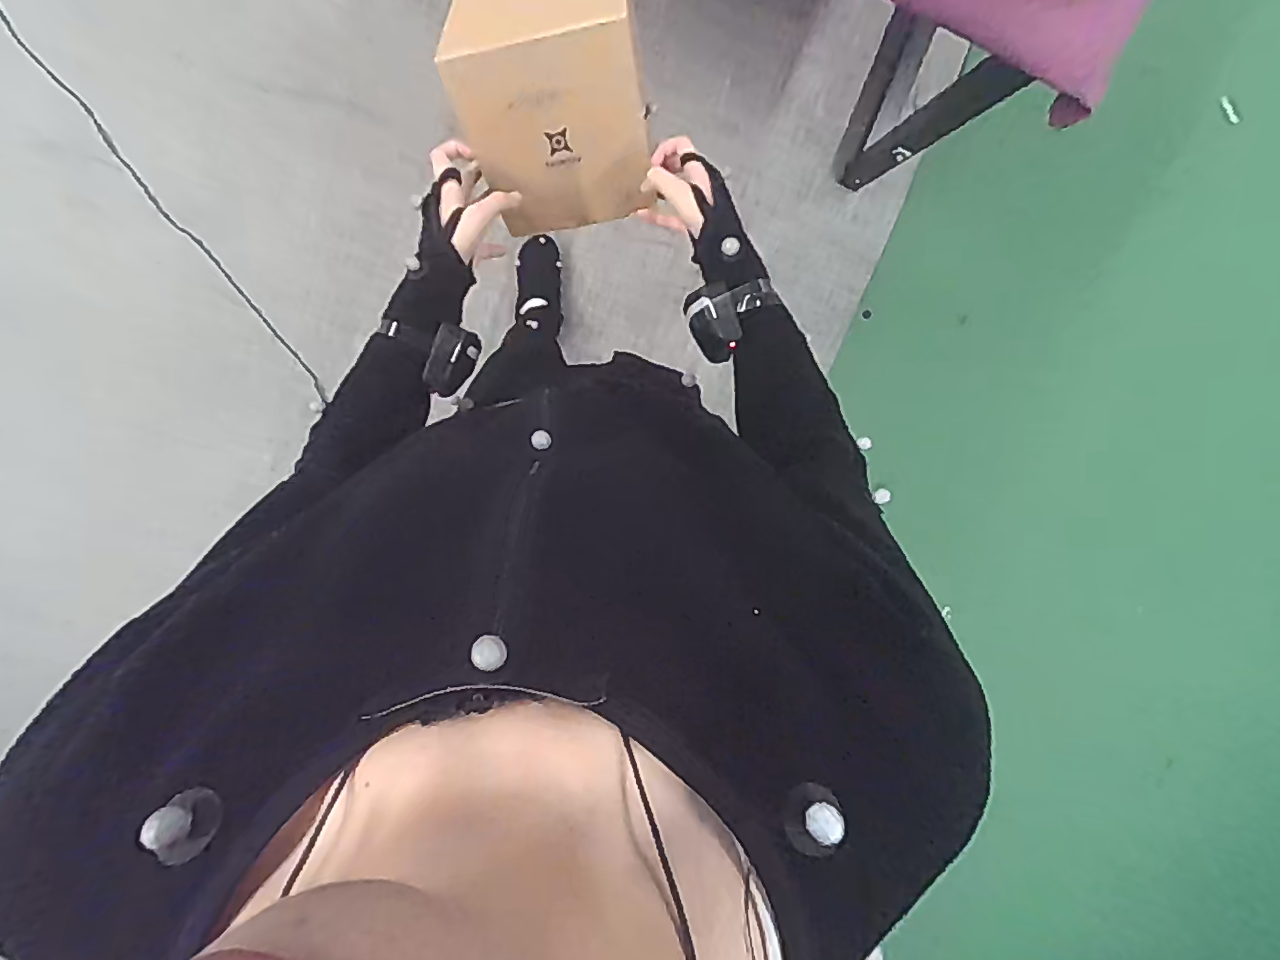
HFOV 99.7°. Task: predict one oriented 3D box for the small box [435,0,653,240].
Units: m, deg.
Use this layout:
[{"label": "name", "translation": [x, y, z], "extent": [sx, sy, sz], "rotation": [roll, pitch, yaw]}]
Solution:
[{"label": "small box", "translation": [-0.079, -0.383, 0.549], "extent": [0.168, 0.179, 0.176], "rotation": [-6, 61, 8]}]
